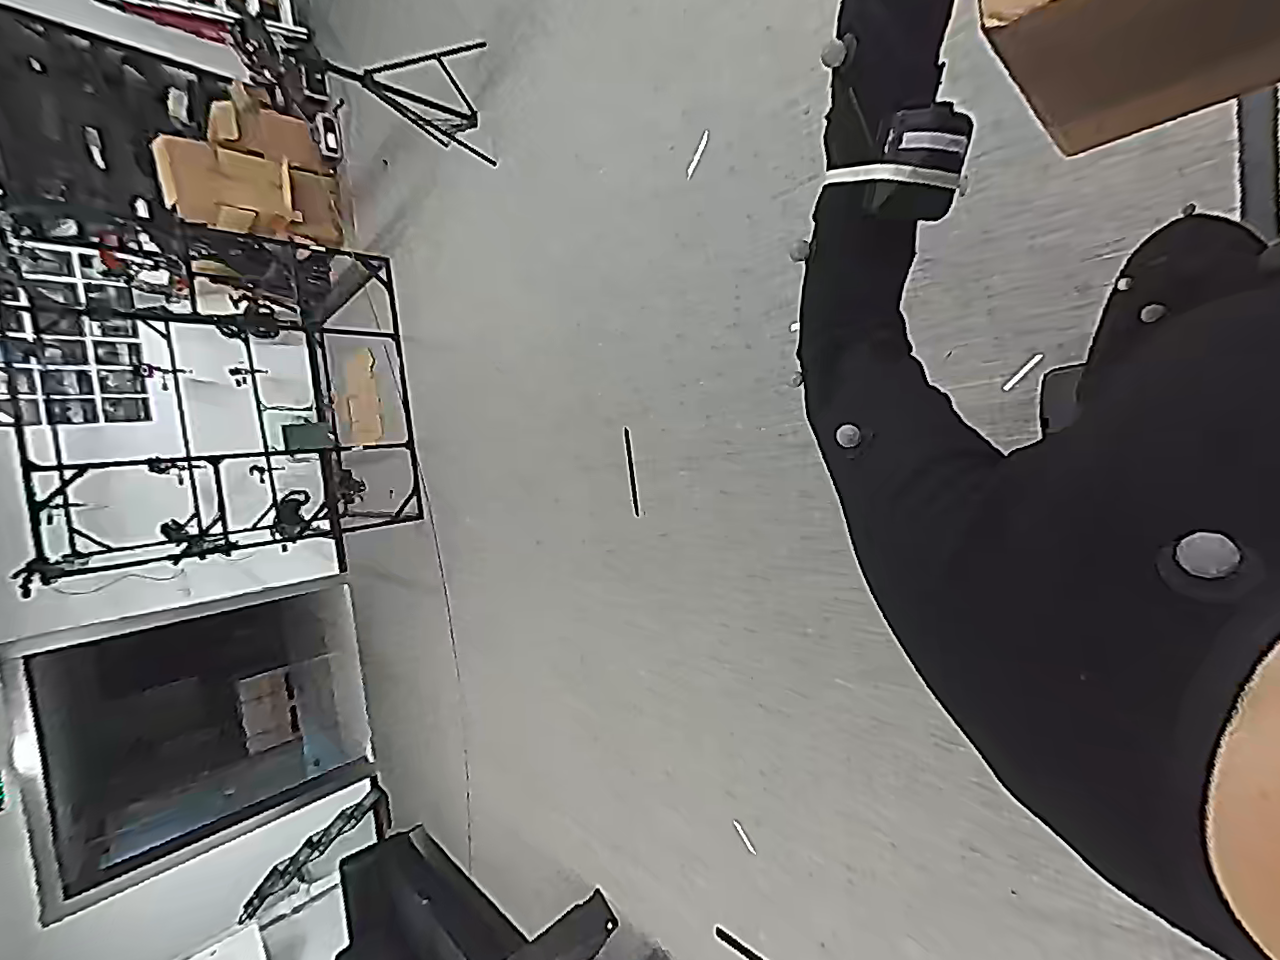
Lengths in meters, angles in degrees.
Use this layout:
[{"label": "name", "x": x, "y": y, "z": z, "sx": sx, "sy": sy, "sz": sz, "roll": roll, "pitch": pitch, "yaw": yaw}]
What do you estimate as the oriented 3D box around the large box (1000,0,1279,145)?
[{"label": "large box", "x": 0.439, "y": -0.464, "z": 0.283, "sx": 0.408, "sy": 0.320, "sz": 0.320, "roll": -3, "pitch": 97, "yaw": 46}]
